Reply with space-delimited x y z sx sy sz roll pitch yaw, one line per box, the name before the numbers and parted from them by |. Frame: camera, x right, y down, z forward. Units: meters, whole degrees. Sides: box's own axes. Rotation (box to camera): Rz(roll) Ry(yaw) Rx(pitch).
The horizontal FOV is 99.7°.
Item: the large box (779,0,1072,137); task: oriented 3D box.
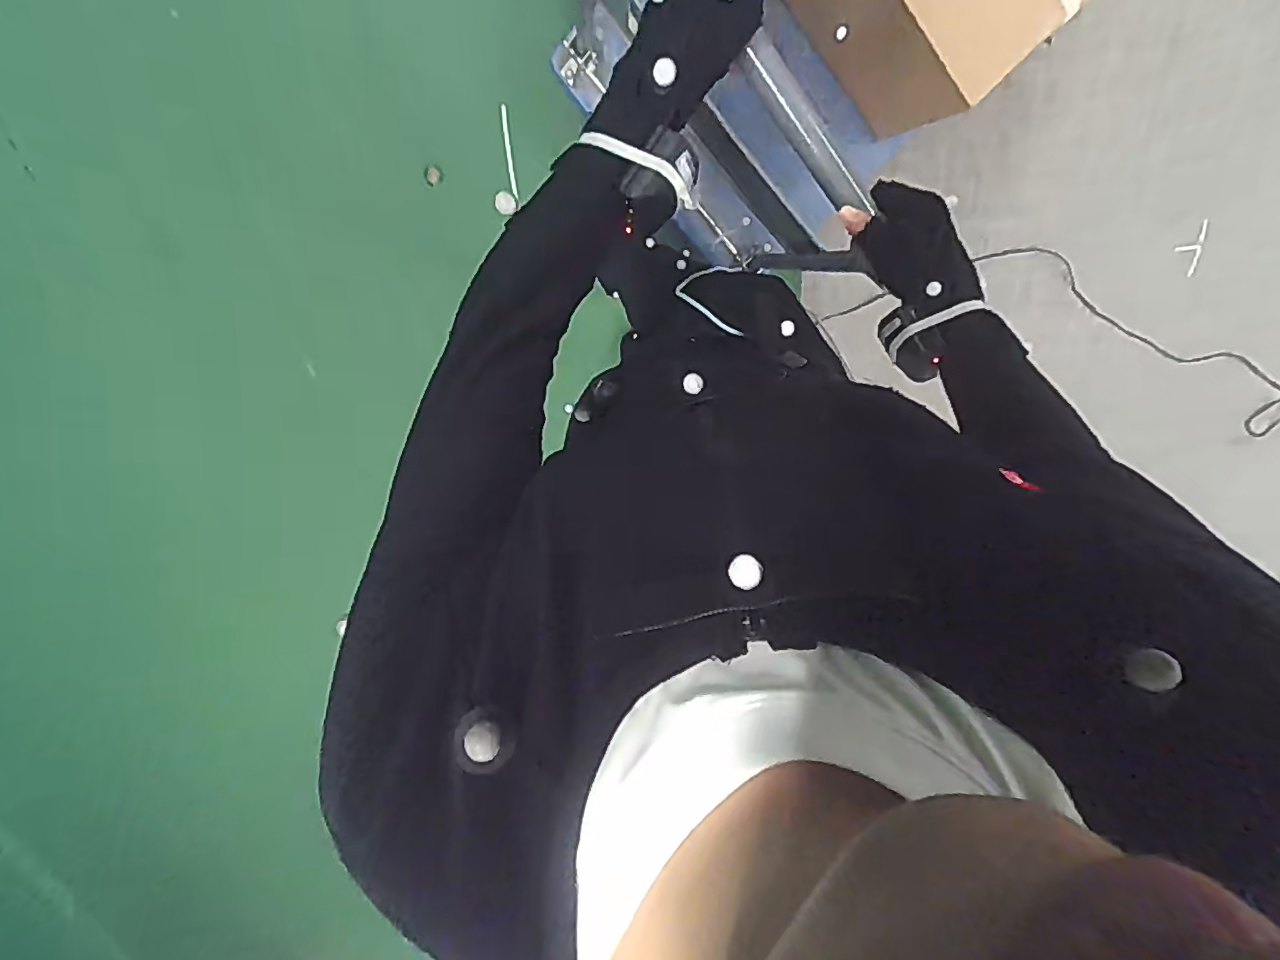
large box | 0.433 -0.823 0.818 0.408 0.320 0.320 42 107 -17
